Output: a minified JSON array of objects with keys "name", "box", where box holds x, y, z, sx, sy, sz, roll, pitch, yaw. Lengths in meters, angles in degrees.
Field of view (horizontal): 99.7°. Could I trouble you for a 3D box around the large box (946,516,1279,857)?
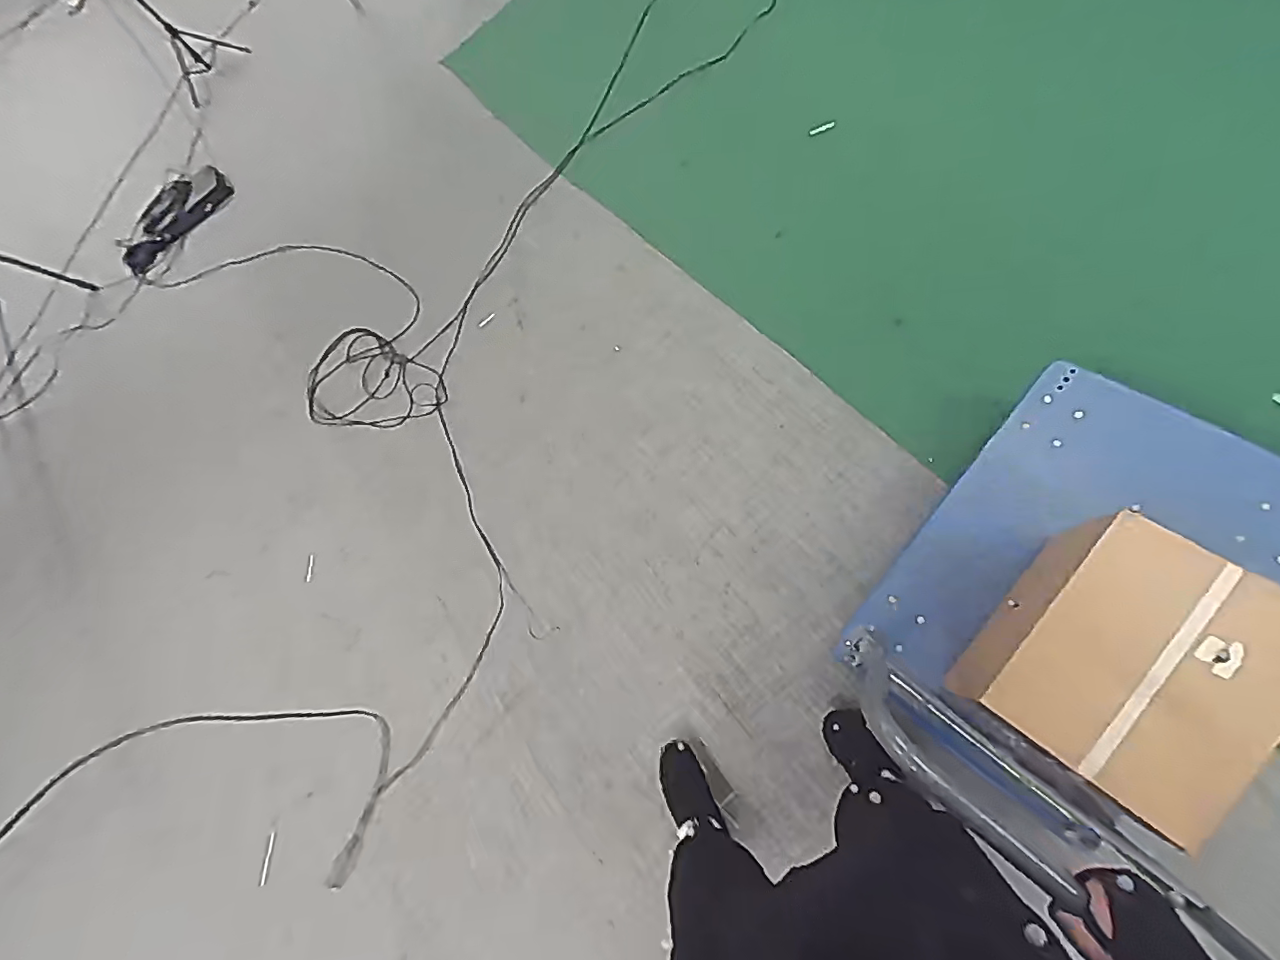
[{"name":"large box","box":[0.831,0.339,0.965,0.320,0.320,0.408,38,88,23]}]
